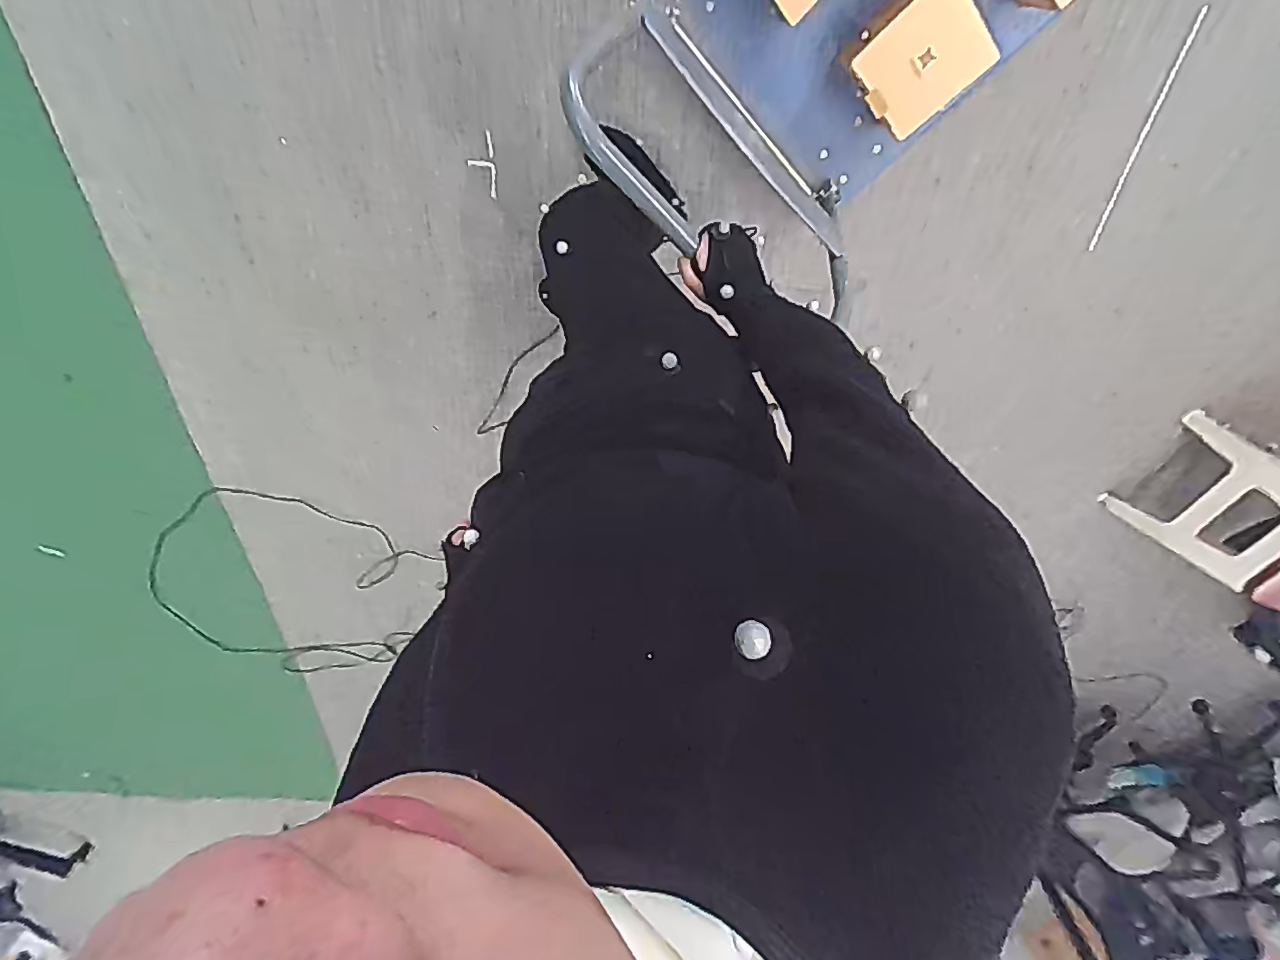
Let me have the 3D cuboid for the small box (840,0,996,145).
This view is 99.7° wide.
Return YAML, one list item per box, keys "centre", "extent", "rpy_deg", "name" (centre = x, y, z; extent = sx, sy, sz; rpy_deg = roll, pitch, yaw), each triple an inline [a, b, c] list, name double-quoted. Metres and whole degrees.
- centre: [0.477, -0.744, 0.952]
  extent: [0.168, 0.176, 0.179]
  rpy_deg: [40, 129, -24]
  name: "small box"

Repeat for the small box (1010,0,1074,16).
- centre: [0.649, -0.855, 0.811]
  extent: [0.168, 0.176, 0.179]
  rpy_deg: [37, 130, -21]
  name: "small box"
